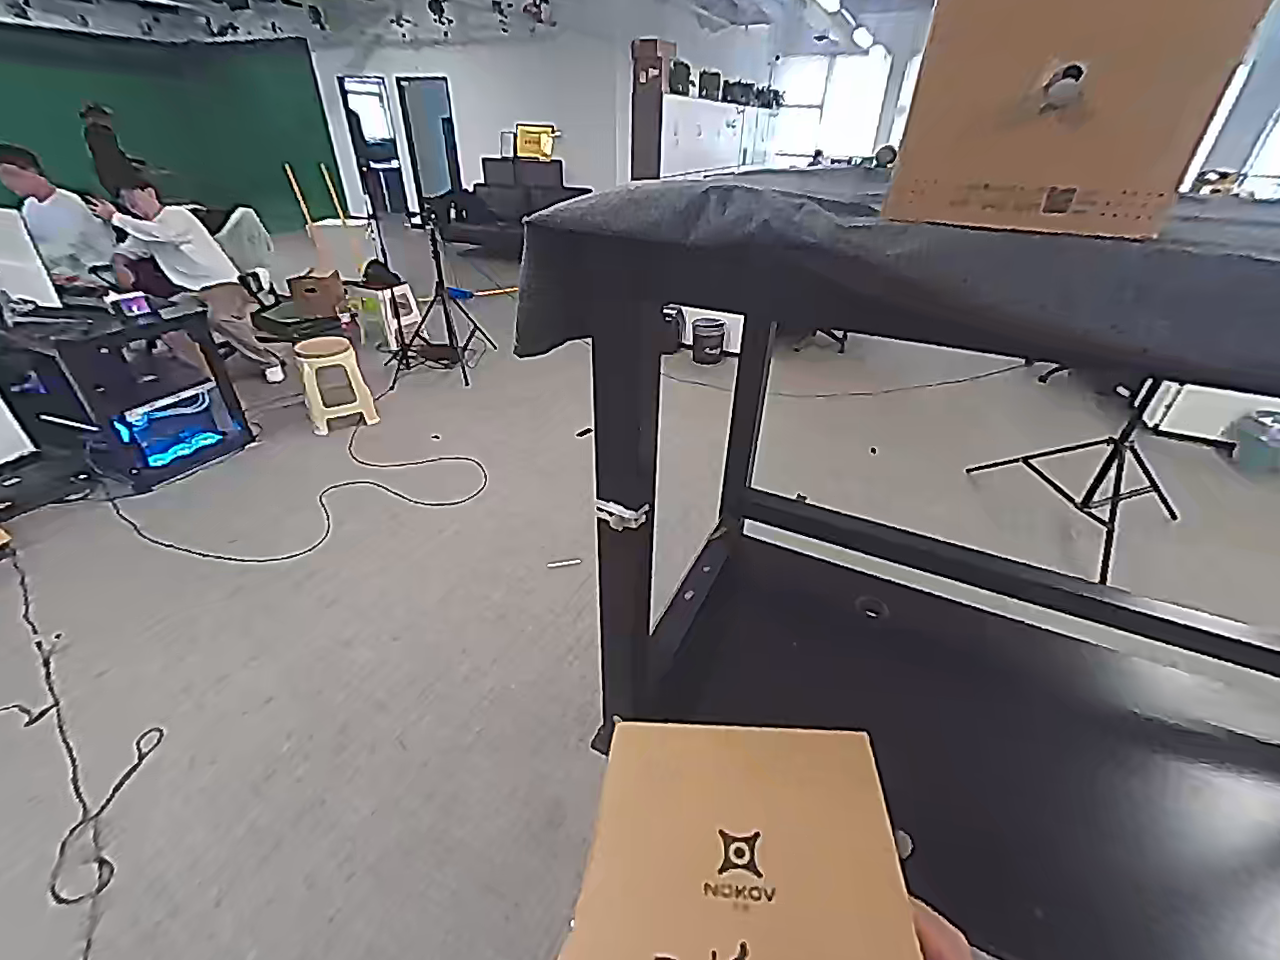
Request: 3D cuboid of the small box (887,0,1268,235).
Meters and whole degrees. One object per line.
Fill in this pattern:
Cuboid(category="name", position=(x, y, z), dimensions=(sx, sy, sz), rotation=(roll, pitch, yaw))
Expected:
Cuboid(category="small box", position=(0.287, -0.280, 0.387), dimensions=(0.168, 0.176, 0.179), rotation=(14, 34, 17))

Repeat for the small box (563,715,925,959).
Cuboid(category="small box", position=(0.061, 0.270, 0.318), dimensions=(0.168, 0.176, 0.179), rotation=(-3, 29, 11))
